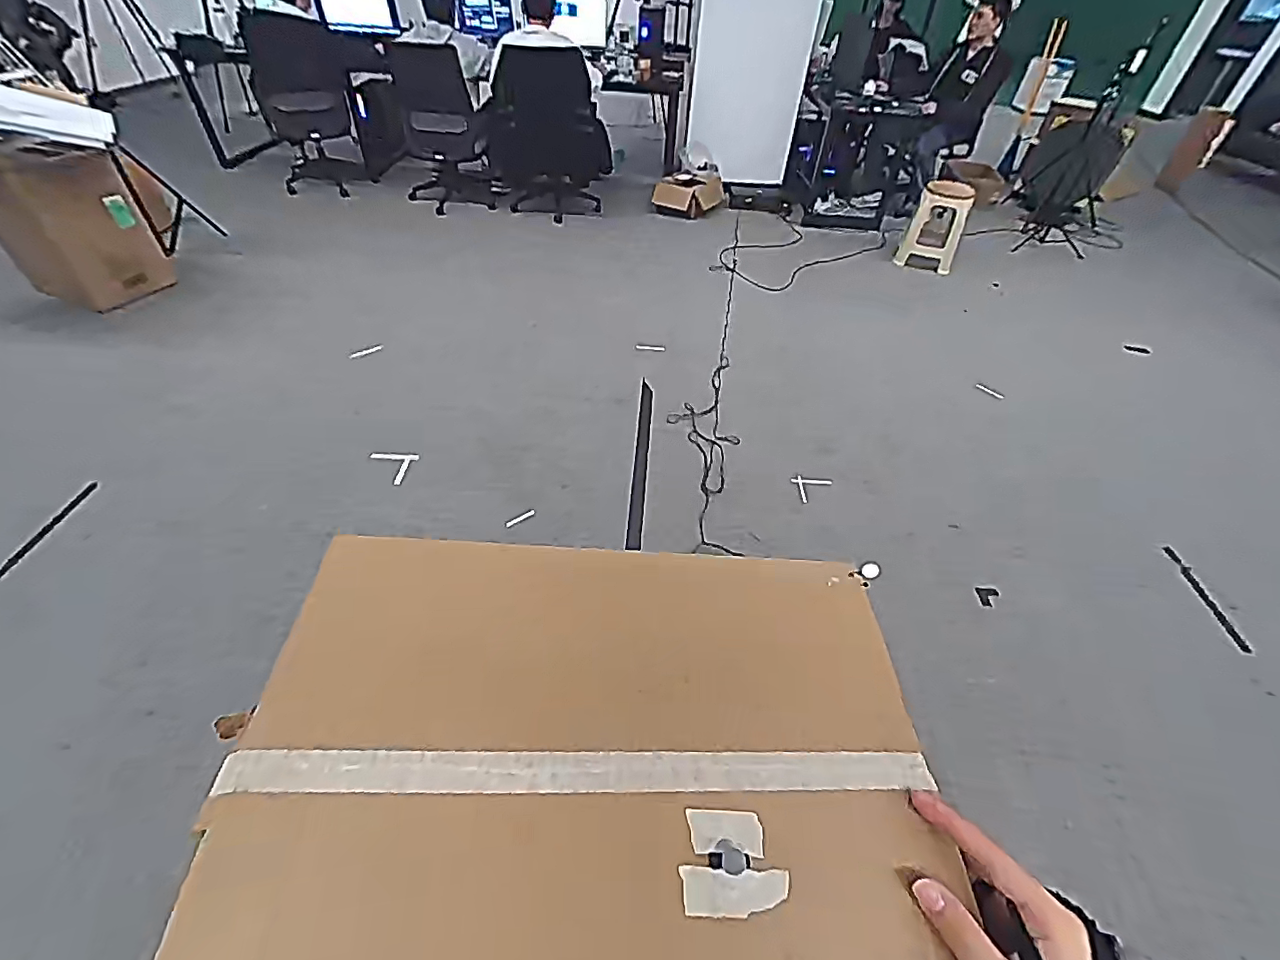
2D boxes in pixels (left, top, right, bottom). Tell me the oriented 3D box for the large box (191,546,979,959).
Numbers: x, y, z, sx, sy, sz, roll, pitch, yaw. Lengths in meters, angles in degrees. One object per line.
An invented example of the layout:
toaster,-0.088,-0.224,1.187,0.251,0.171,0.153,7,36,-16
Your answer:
large box,-0.038,0.274,0.439,0.408,0.320,0.320,5,49,-7
